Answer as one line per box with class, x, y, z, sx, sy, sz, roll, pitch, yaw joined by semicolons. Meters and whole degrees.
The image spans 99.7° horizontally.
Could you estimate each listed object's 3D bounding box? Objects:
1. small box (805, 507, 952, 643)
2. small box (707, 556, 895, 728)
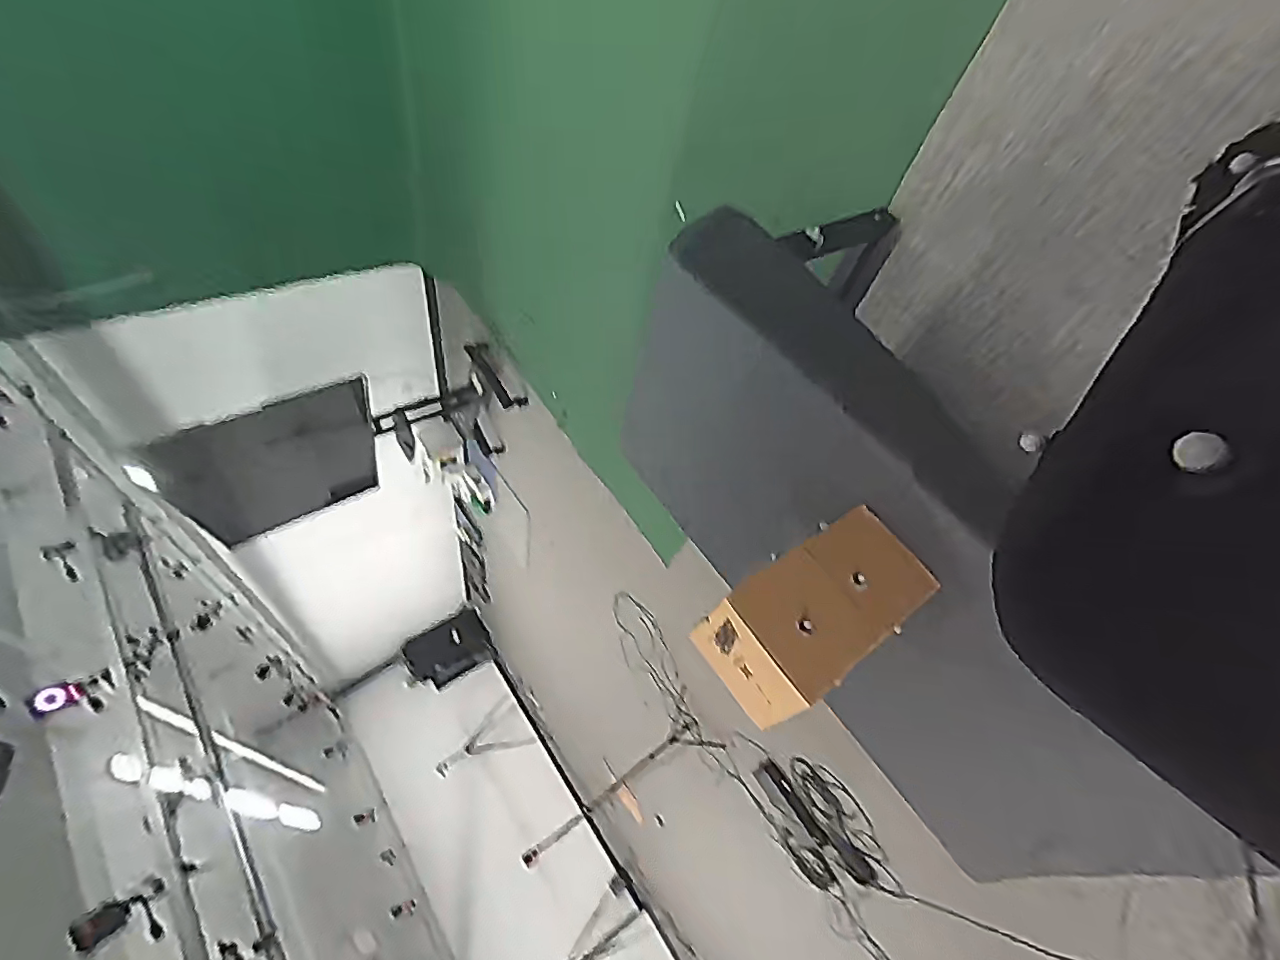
small box;0.370;0.177;0.902;0.179;0.176;0.168;53;150;22
small box;0.239;0.237;0.823;0.179;0.176;0.168;51;150;20
